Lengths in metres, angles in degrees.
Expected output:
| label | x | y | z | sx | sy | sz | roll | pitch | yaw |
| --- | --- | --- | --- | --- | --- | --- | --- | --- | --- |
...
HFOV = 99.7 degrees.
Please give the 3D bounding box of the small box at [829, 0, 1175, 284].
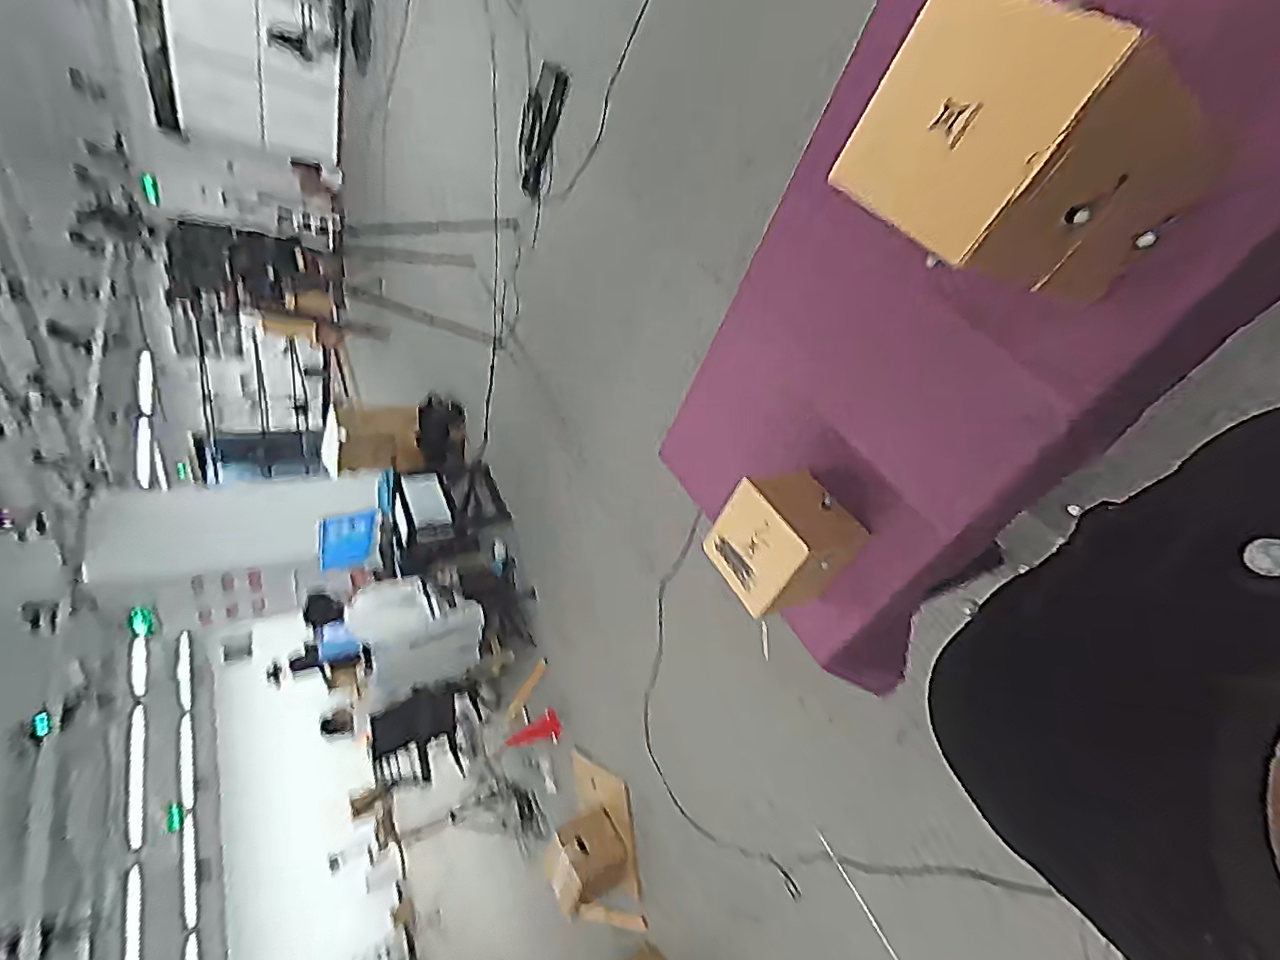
| label | x | y | z | sx | sy | sz | roll | pitch | yaw |
| --- | --- | --- | --- | --- | --- | --- | --- | --- | --- |
| small box | 0.323 | -0.300 | 0.500 | 0.179 | 0.176 | 0.168 | 56 | 136 | 31 |
